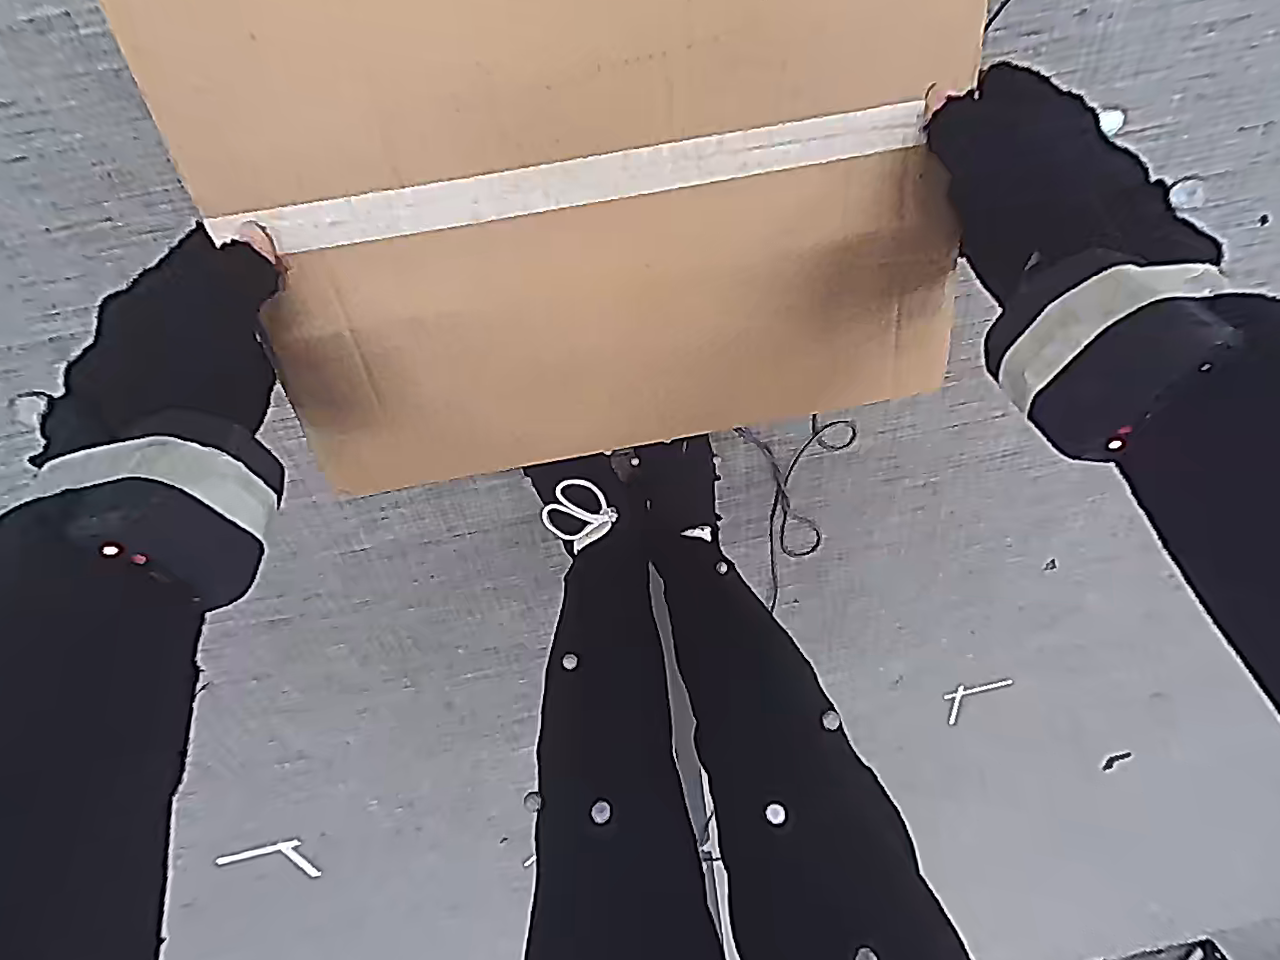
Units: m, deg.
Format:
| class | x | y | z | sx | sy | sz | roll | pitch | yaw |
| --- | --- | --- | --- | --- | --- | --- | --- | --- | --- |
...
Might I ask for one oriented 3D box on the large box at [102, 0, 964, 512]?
| class | x | y | z | sx | sy | sz | roll | pitch | yaw |
| --- | --- | --- | --- | --- | --- | --- | --- | --- | --- |
| large box | -0.038 | -0.218 | 0.427 | 0.408 | 0.320 | 0.320 | -11 | 118 | -2 |
